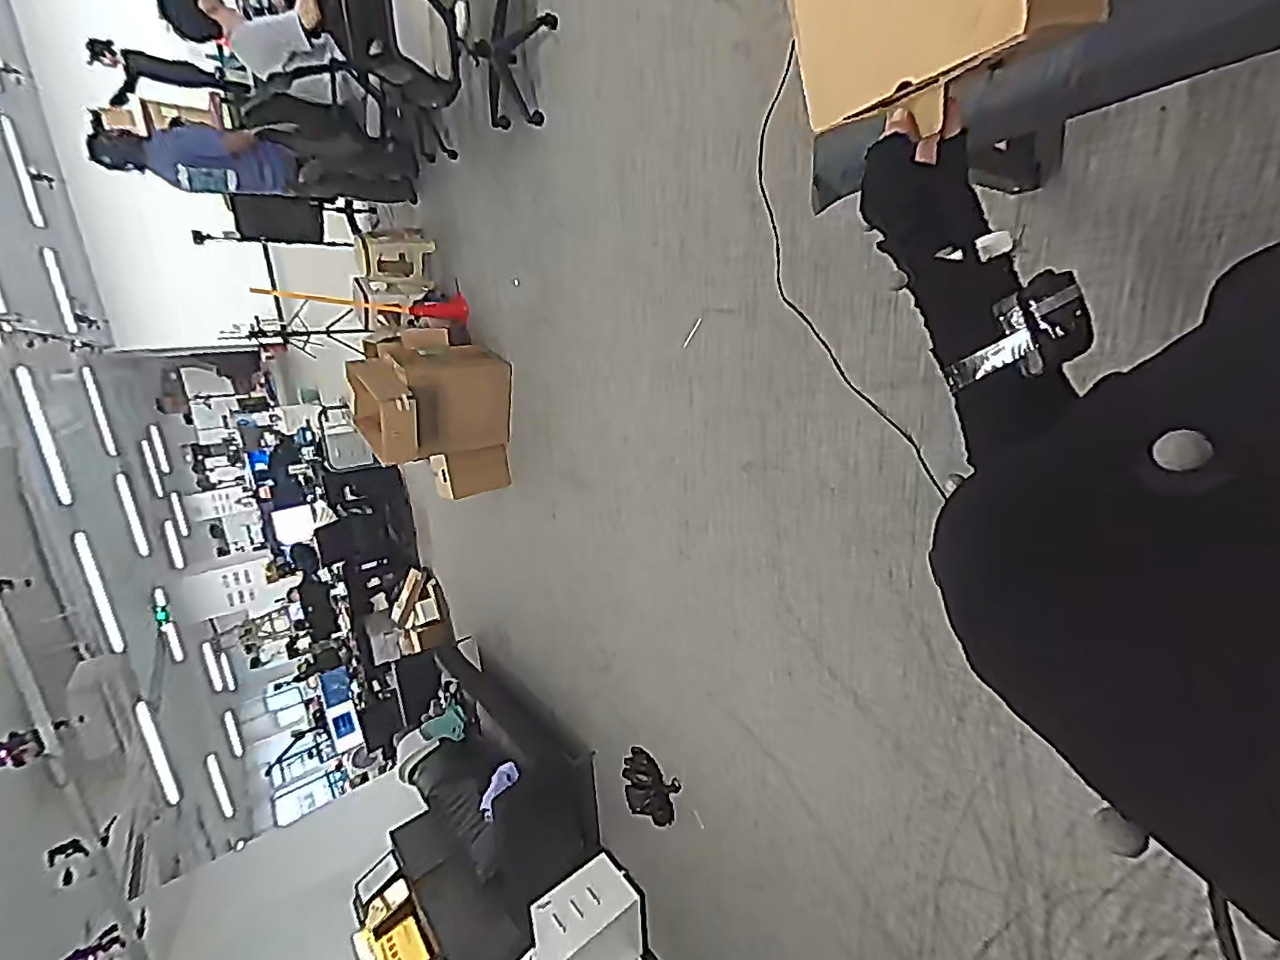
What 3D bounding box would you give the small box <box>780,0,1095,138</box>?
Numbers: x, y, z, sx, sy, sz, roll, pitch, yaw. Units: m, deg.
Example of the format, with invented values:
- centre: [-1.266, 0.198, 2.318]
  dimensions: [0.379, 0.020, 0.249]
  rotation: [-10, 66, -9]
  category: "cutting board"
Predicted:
- centre: [0.228, -0.404, 0.421]
  dimensions: [0.168, 0.176, 0.179]
  rotation: [9, 124, 52]
  category: "small box"
